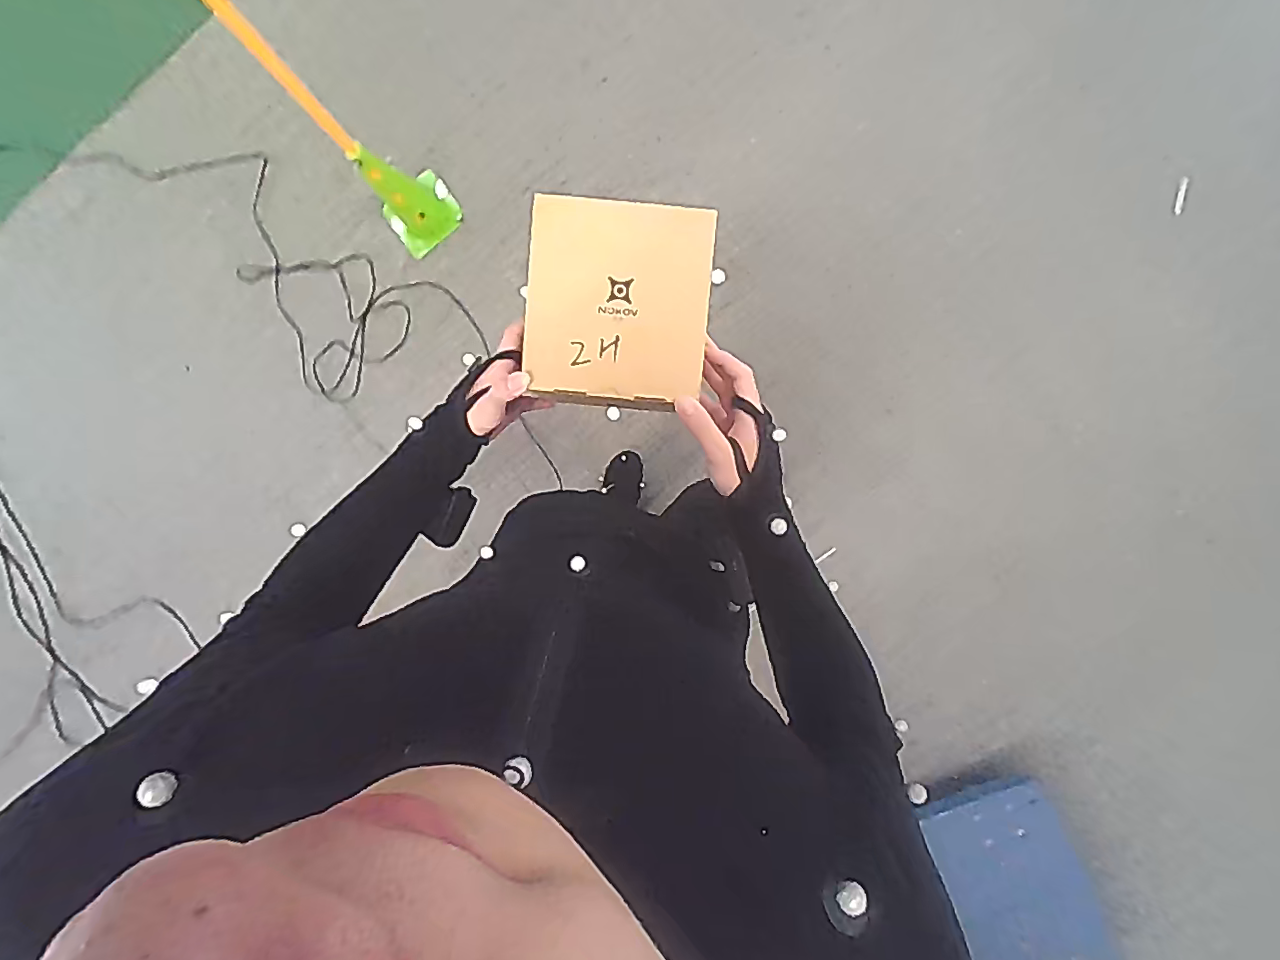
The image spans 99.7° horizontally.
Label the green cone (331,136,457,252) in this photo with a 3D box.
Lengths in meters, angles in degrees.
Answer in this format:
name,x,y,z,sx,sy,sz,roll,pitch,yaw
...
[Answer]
name,x,y,z,sx,sy,sz,roll,pitch,yaw
green cone,-0.690,-0.809,1.454,0.202,0.368,0.200,-37,88,7
